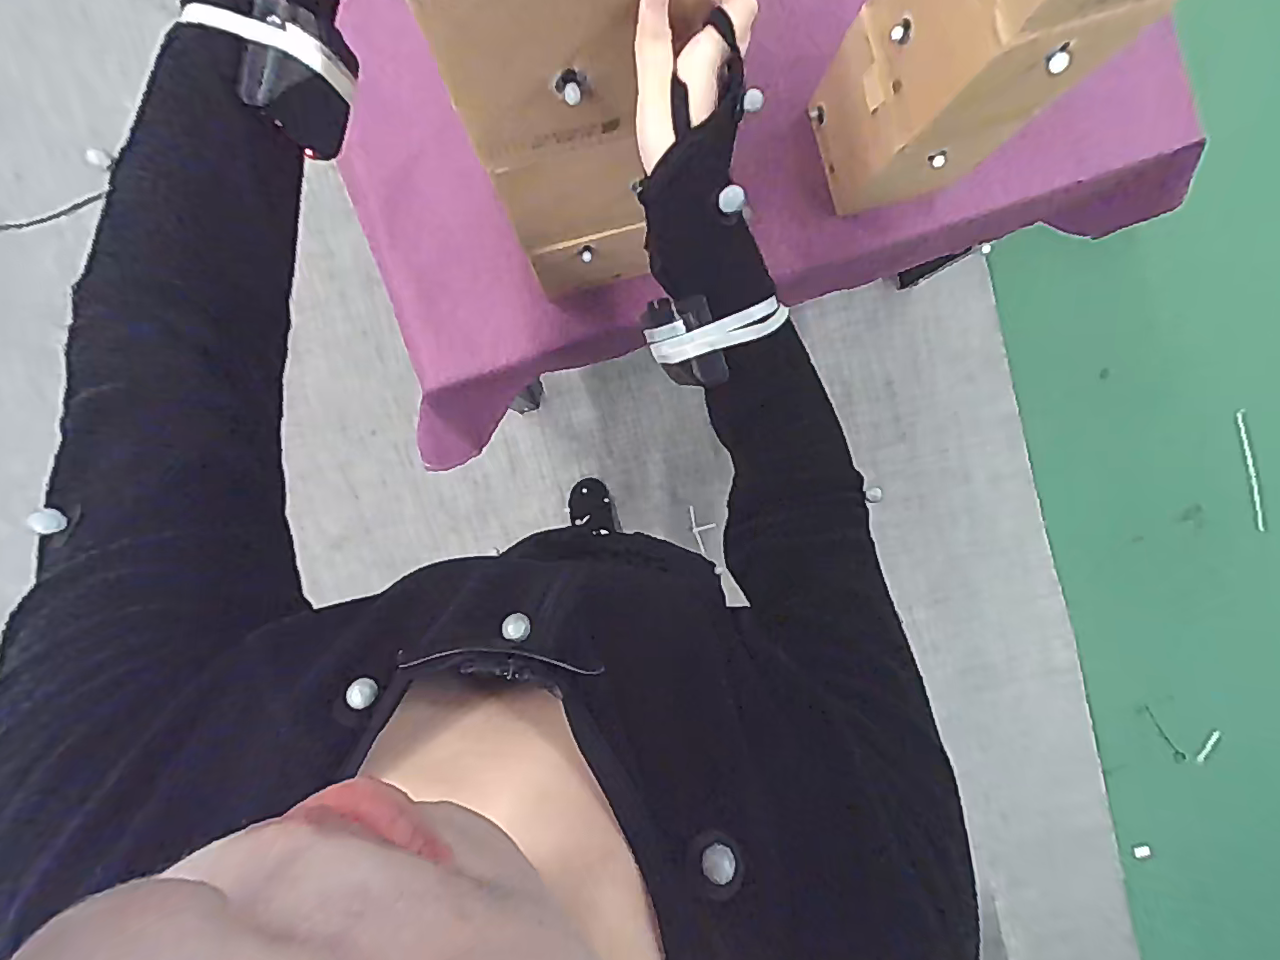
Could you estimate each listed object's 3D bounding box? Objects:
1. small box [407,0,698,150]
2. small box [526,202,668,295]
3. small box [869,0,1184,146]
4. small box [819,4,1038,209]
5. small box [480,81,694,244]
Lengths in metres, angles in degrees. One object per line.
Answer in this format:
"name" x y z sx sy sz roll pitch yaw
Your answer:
"small box" -0.060 -0.343 0.344 0.168 0.176 0.179 -14 93 -3
"small box" -0.071 -0.357 0.675 0.168 0.176 0.179 -15 93 -2
"small box" 0.360 -0.470 0.530 0.179 0.176 0.168 -17 94 -1
"small box" 0.348 -0.477 0.692 0.179 0.176 0.168 -16 94 -3
"small box" -0.062 -0.349 0.512 0.179 0.176 0.168 -14 93 -2
